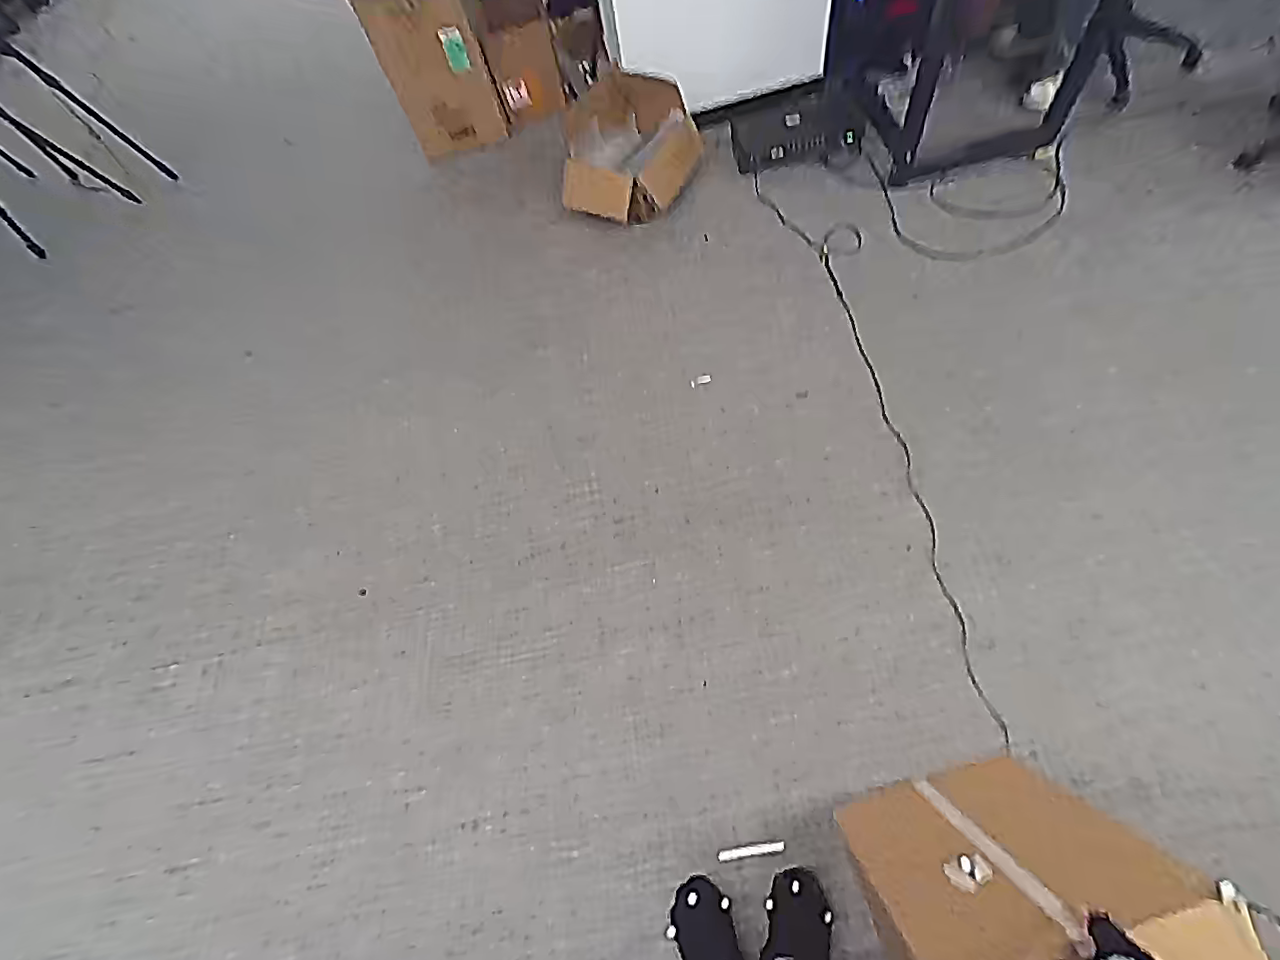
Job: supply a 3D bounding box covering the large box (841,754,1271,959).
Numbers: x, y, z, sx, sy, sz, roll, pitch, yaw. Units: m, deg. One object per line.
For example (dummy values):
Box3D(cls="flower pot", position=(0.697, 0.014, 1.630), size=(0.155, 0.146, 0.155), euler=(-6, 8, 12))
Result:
Box3D(cls="large box", position=(0.521, 0.632, 0.713), size=(0.320, 0.408, 0.320), euler=(-21, 81, 2))
